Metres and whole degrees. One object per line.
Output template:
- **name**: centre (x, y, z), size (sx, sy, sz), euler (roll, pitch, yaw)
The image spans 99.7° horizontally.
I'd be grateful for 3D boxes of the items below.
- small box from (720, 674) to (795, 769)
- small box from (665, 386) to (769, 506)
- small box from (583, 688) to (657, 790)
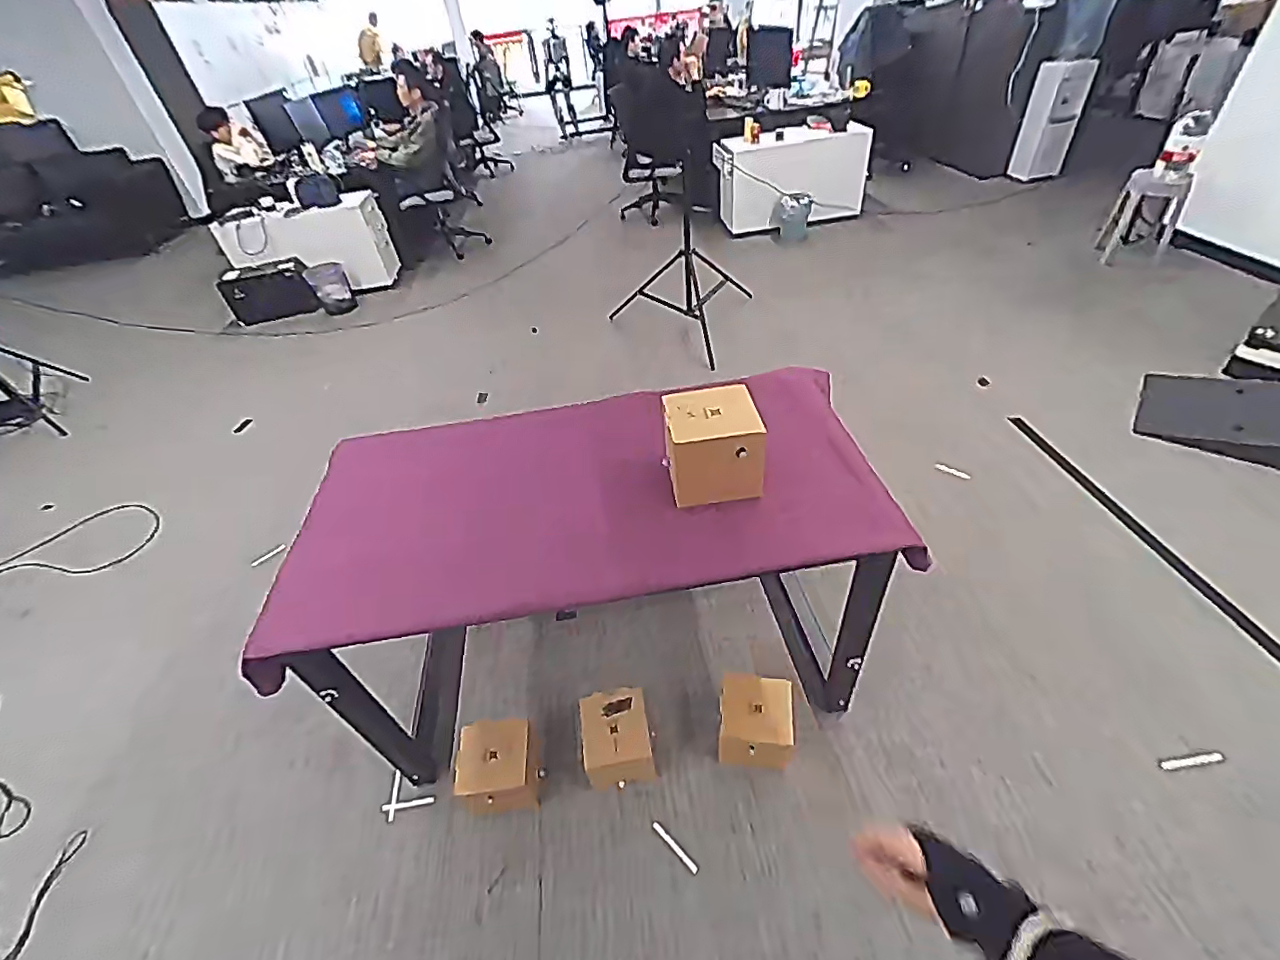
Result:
- **small box**: centre (0.302, 0.628, 1.400), size (0.179, 0.176, 0.168), euler (2, 44, 12)
- **small box**: centre (0.151, -0.067, 1.093), size (0.179, 0.176, 0.168), euler (-8, 41, 0)
- **small box**: centre (-0.052, 0.672, 1.403), size (0.168, 0.176, 0.179), euler (-10, 43, -2)
